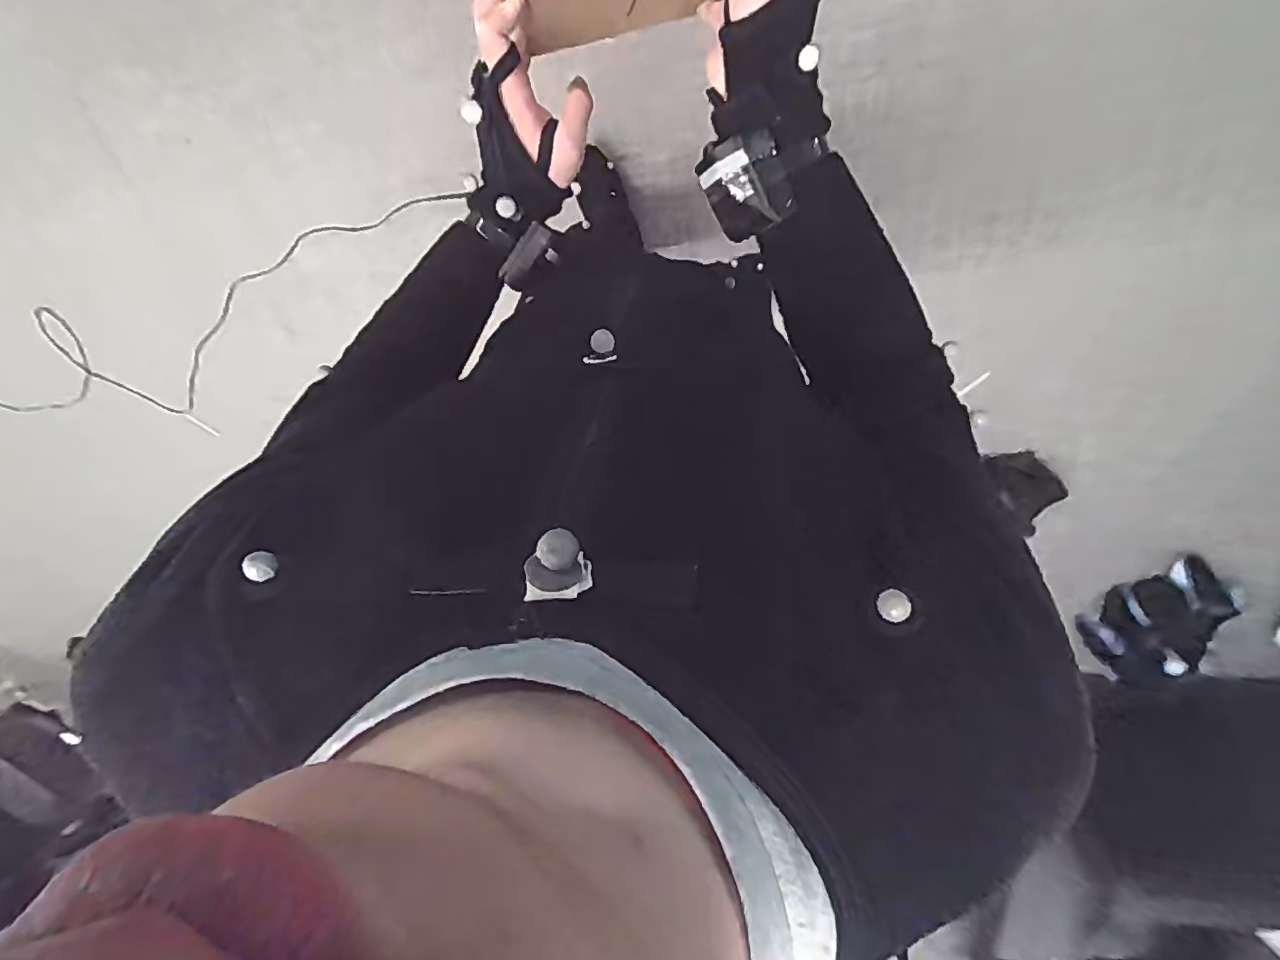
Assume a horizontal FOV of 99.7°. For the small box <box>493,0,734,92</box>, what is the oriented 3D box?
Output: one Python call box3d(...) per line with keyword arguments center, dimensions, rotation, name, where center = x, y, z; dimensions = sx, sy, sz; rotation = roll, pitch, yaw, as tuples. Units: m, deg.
box3d(center=(-0.025, -0.384, 0.317), dimensions=(0.168, 0.179, 0.176), rotation=(-23, 103, -9), name="small box")
